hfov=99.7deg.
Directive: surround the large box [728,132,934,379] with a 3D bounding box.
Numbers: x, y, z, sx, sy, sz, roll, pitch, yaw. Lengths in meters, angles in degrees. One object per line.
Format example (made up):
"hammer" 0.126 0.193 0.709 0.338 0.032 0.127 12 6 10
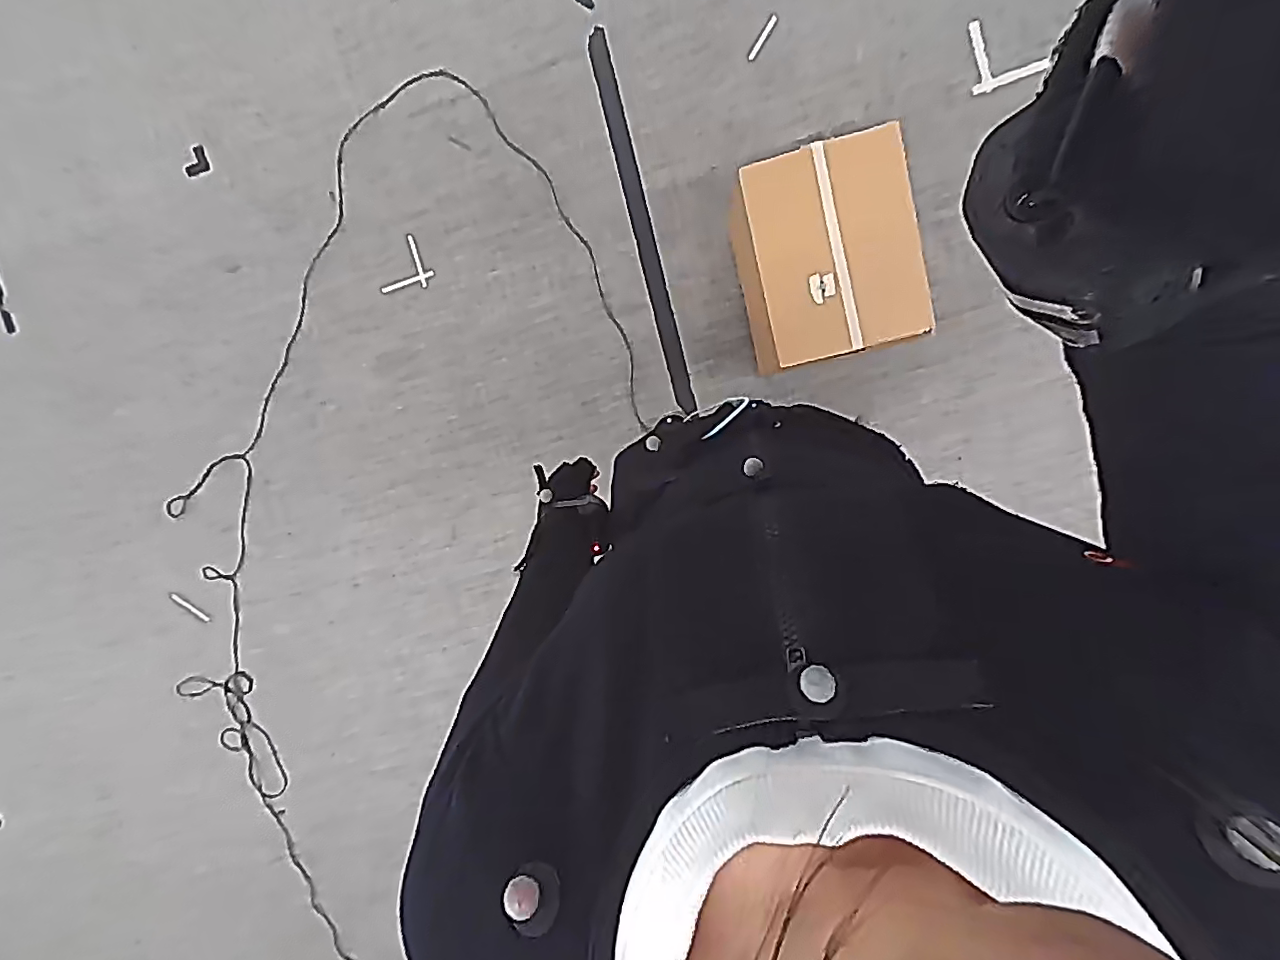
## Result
"large box" 0.405 -0.469 1.226 0.320 0.320 0.408 -14 96 8
